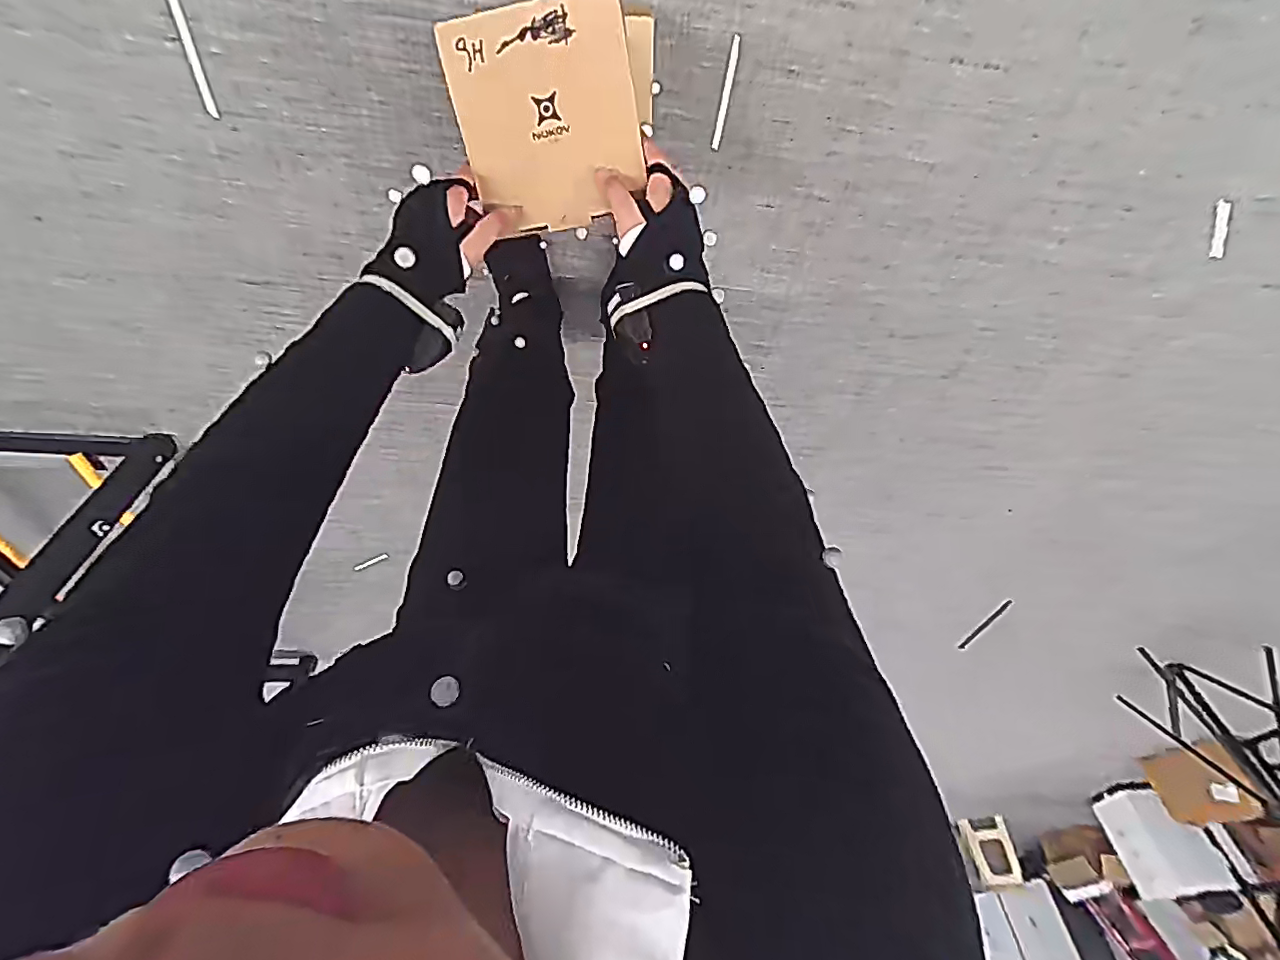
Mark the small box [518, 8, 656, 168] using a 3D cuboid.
[{"bbox_3d":[-0.072,-0.569,0.783,0.179,0.176,0.168,-1,135,-2],"label":"small box"}]
